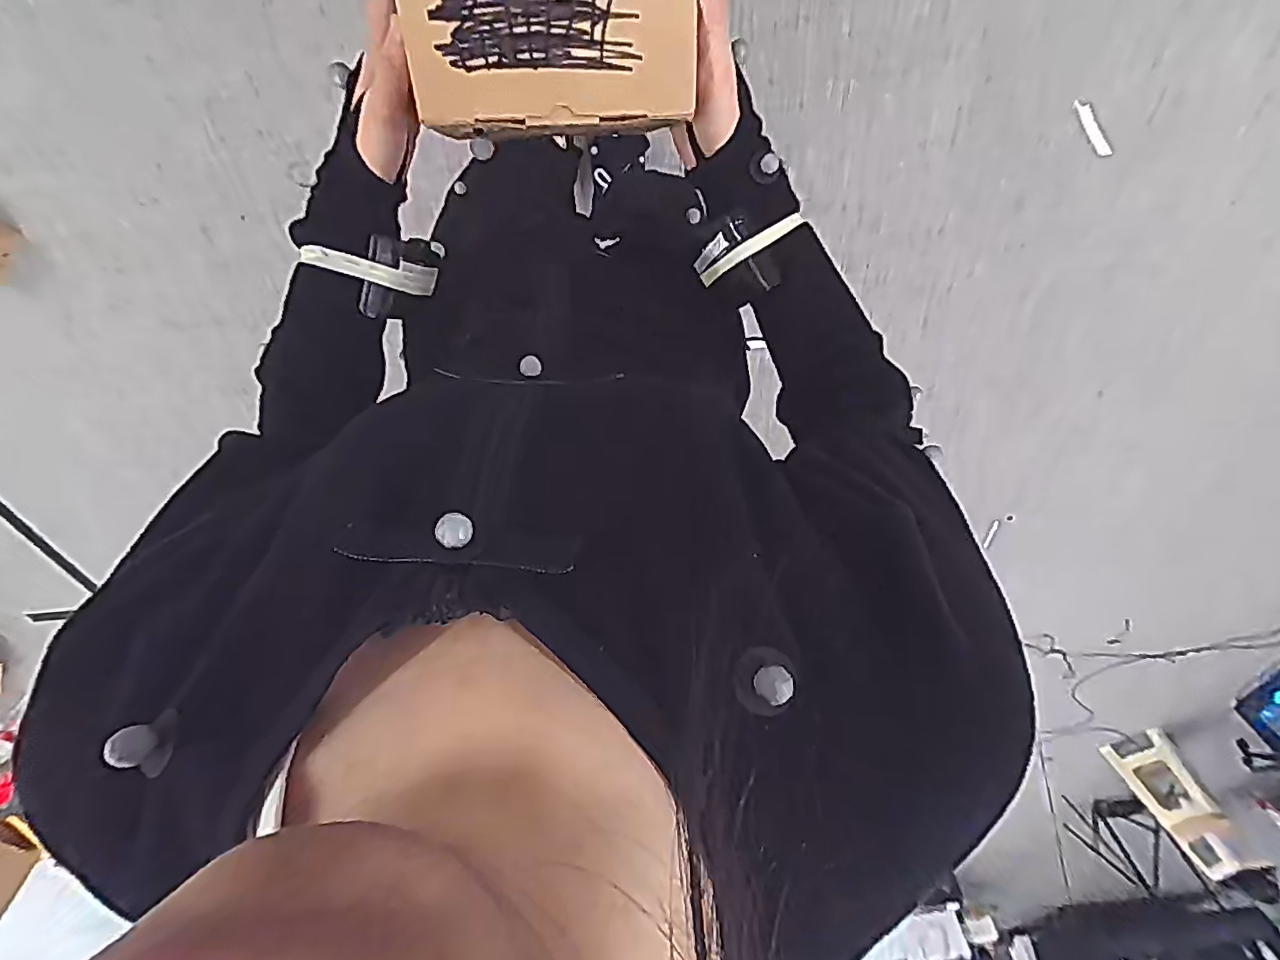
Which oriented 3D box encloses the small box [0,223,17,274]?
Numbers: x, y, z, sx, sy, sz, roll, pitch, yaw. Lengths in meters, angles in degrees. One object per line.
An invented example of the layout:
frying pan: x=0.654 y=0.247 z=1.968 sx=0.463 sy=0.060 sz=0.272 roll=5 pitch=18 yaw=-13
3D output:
small box: x=-1.514 y=-0.510 z=1.150 sx=0.168 sy=0.176 sz=0.179 roll=-37 pitch=121 yaw=23

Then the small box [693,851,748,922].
small box: x=0.285 y=1.458 z=1.942 sx=0.179 sy=0.176 sz=0.168 roll=-8 pitch=131 yaw=2
